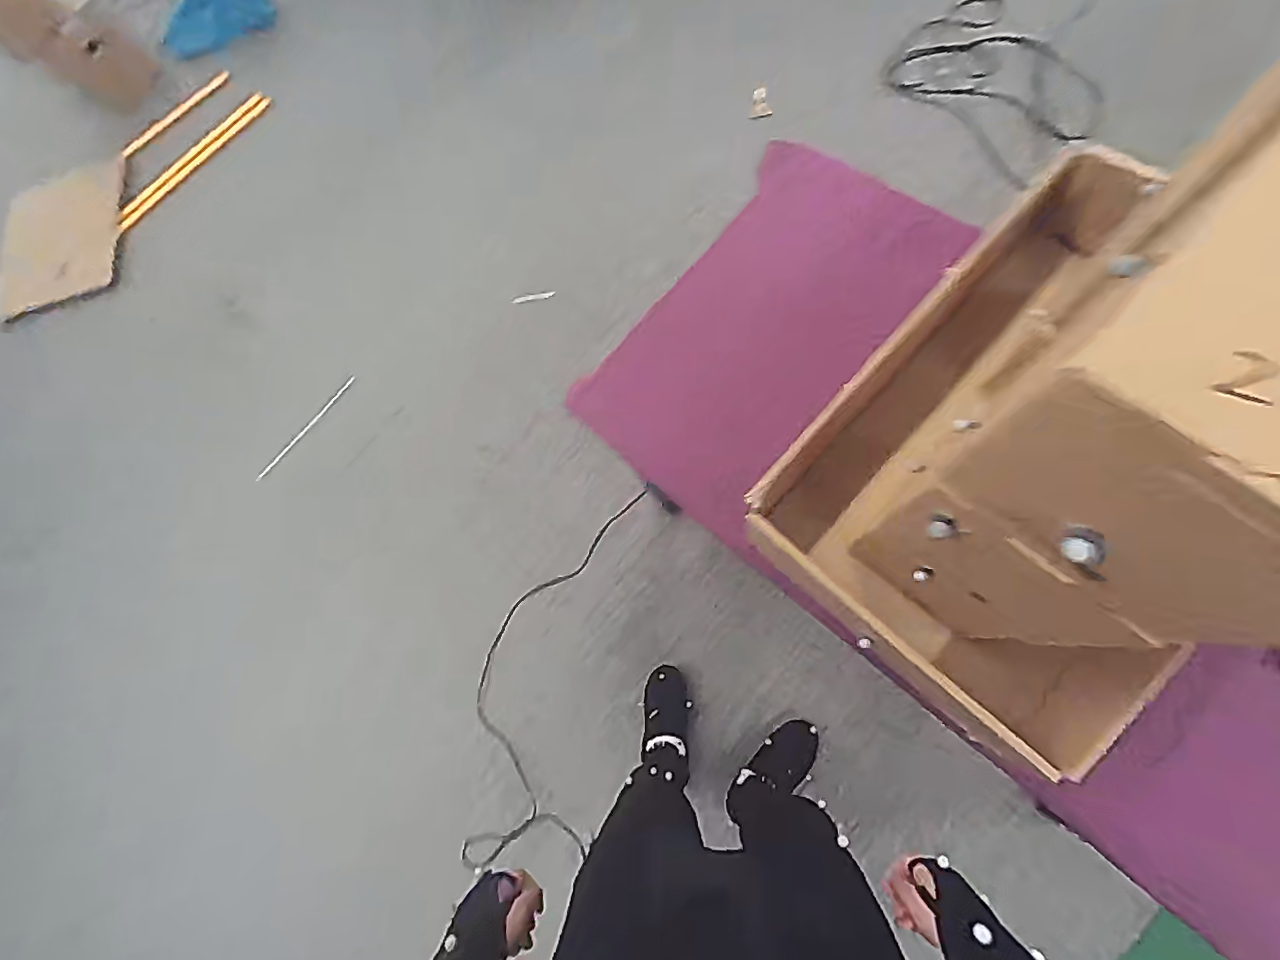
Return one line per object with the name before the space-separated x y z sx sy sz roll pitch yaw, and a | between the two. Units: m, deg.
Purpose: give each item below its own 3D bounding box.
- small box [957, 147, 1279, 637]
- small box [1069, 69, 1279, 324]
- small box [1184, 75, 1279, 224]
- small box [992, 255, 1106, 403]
small box | 0.316 -0.036 0.292 0.179 0.176 0.168 -45 72 -4
small box | 0.531 -0.198 0.472 0.168 0.176 0.179 39 86 18
small box | 0.499 -0.236 0.317 0.168 0.176 0.179 40 87 18
small box | 0.557 -0.152 0.627 0.168 0.176 0.179 40 87 18
